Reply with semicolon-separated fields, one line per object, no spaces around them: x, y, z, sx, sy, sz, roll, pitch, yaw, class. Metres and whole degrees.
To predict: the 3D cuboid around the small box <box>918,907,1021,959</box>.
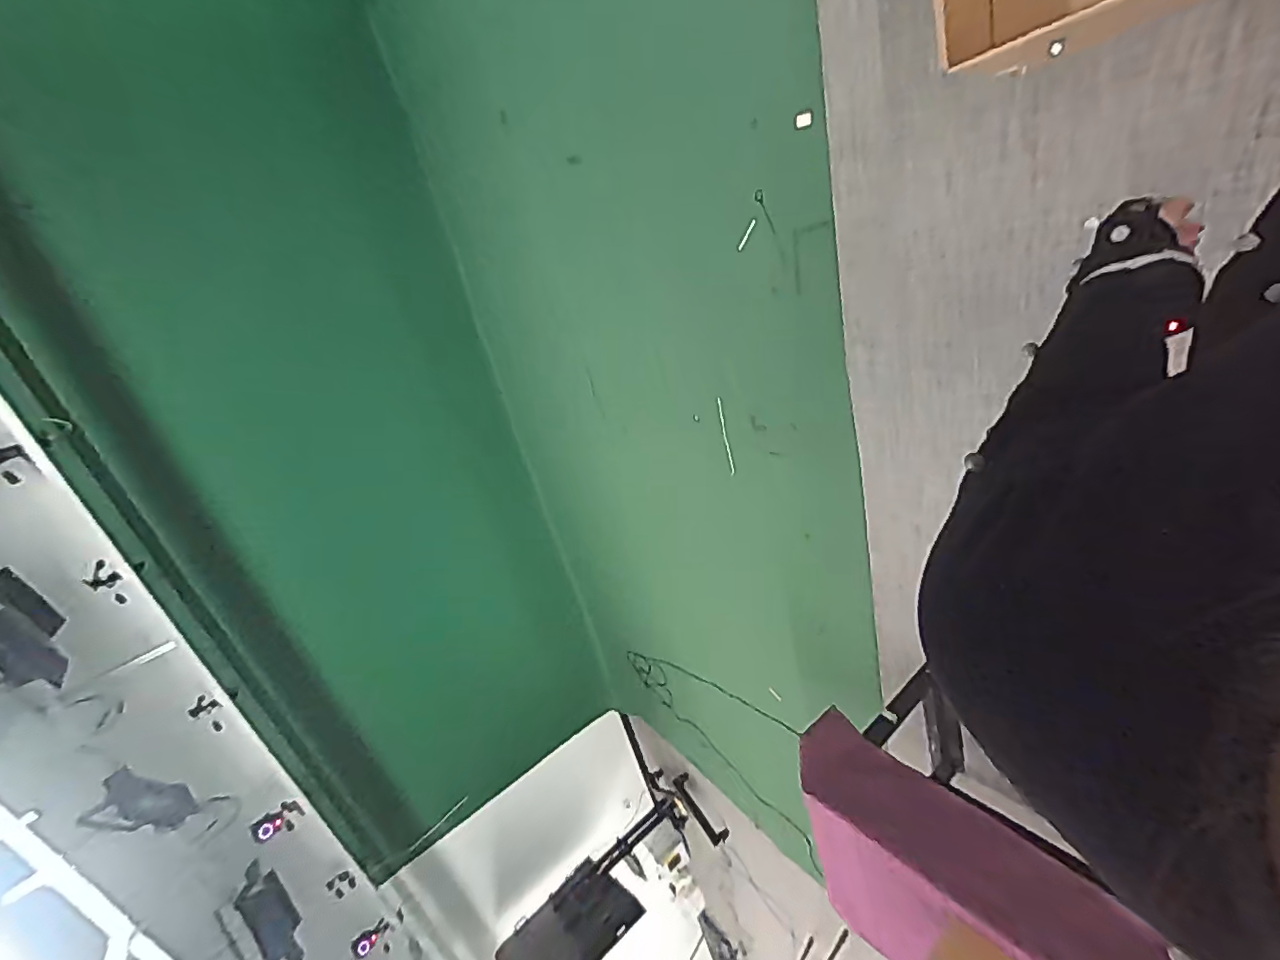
0.778;1.166;1.261;0.179;0.176;0.168;17;129;52;small box
